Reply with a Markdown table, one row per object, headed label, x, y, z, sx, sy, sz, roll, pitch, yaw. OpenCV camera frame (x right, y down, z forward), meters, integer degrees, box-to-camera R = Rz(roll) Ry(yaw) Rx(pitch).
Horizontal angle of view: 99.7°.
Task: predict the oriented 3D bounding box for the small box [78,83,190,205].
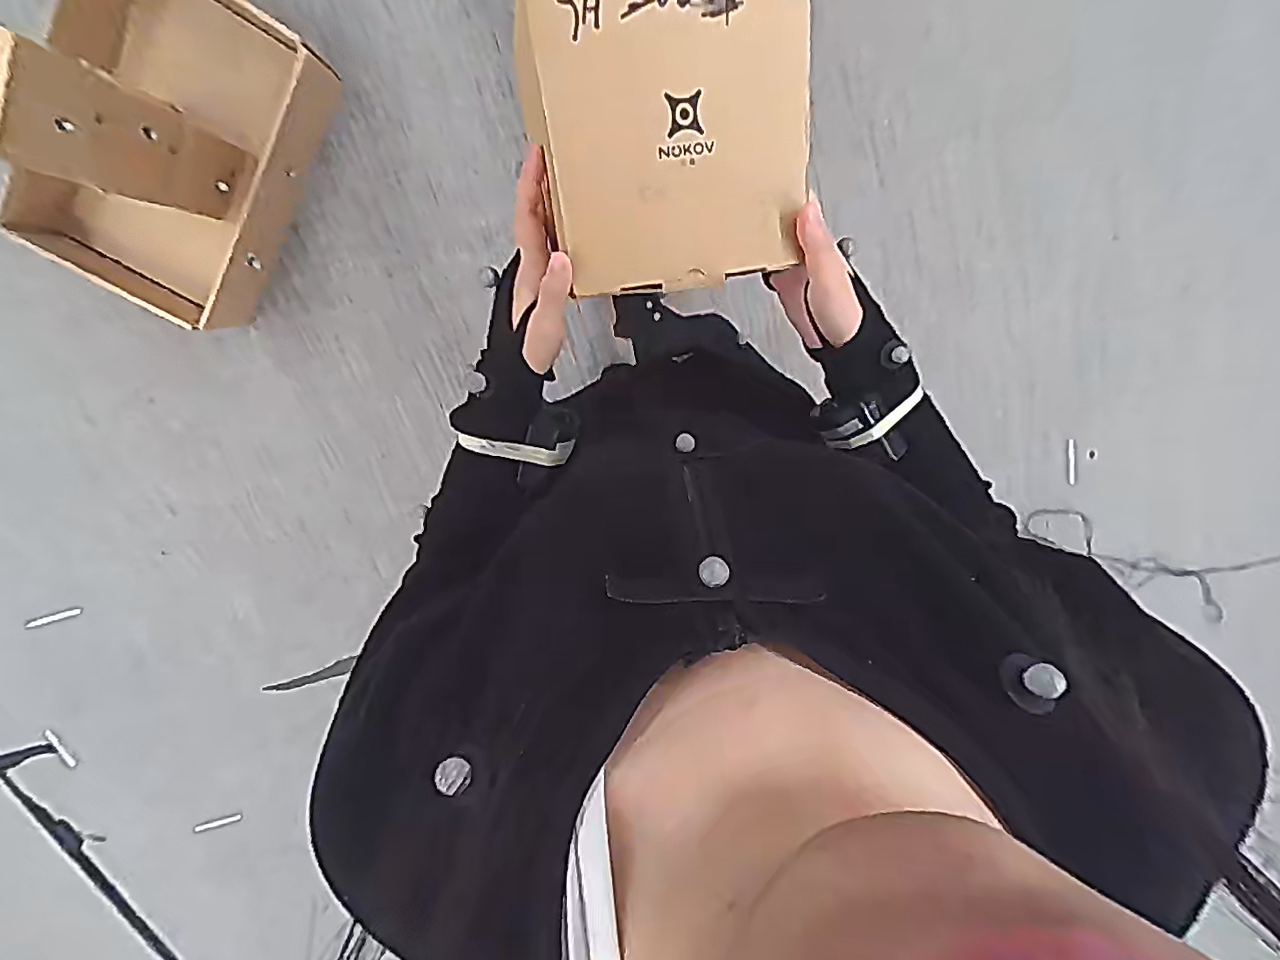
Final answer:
| label | x | y | z | sx | sy | sz | roll | pitch | yaw |
| --- | --- | --- | --- | --- | --- | --- | --- | --- | --- |
| small box | -0.946 | -0.607 | 0.945 | 0.179 | 0.176 | 0.168 | 24 | 102 | -11 |

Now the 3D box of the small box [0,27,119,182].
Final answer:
| label | x | y | z | sx | sy | sz | roll | pitch | yaw |
| --- | --- | --- | --- | --- | --- | --- | --- | --- | --- |
| small box | -0.928 | -0.563 | 0.786 | 0.179 | 0.176 | 0.168 | 24 | 102 | -12 |

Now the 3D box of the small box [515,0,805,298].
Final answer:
| label | x | y | z | sx | sy | sz | roll | pitch | yaw |
| --- | --- | --- | --- | --- | --- | --- | --- | --- | --- |
| small box | 0.006 | -0.246 | 0.402 | 0.168 | 0.176 | 0.179 | -12 | 116 | -9 |

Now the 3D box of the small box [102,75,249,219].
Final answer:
| label | x | y | z | sx | sy | sz | roll | pitch | yaw |
| --- | --- | --- | --- | --- | --- | --- | --- | --- | --- |
| small box | -0.956 | -0.658 | 1.098 | 0.179 | 0.176 | 0.168 | 28 | 103 | -13 |
